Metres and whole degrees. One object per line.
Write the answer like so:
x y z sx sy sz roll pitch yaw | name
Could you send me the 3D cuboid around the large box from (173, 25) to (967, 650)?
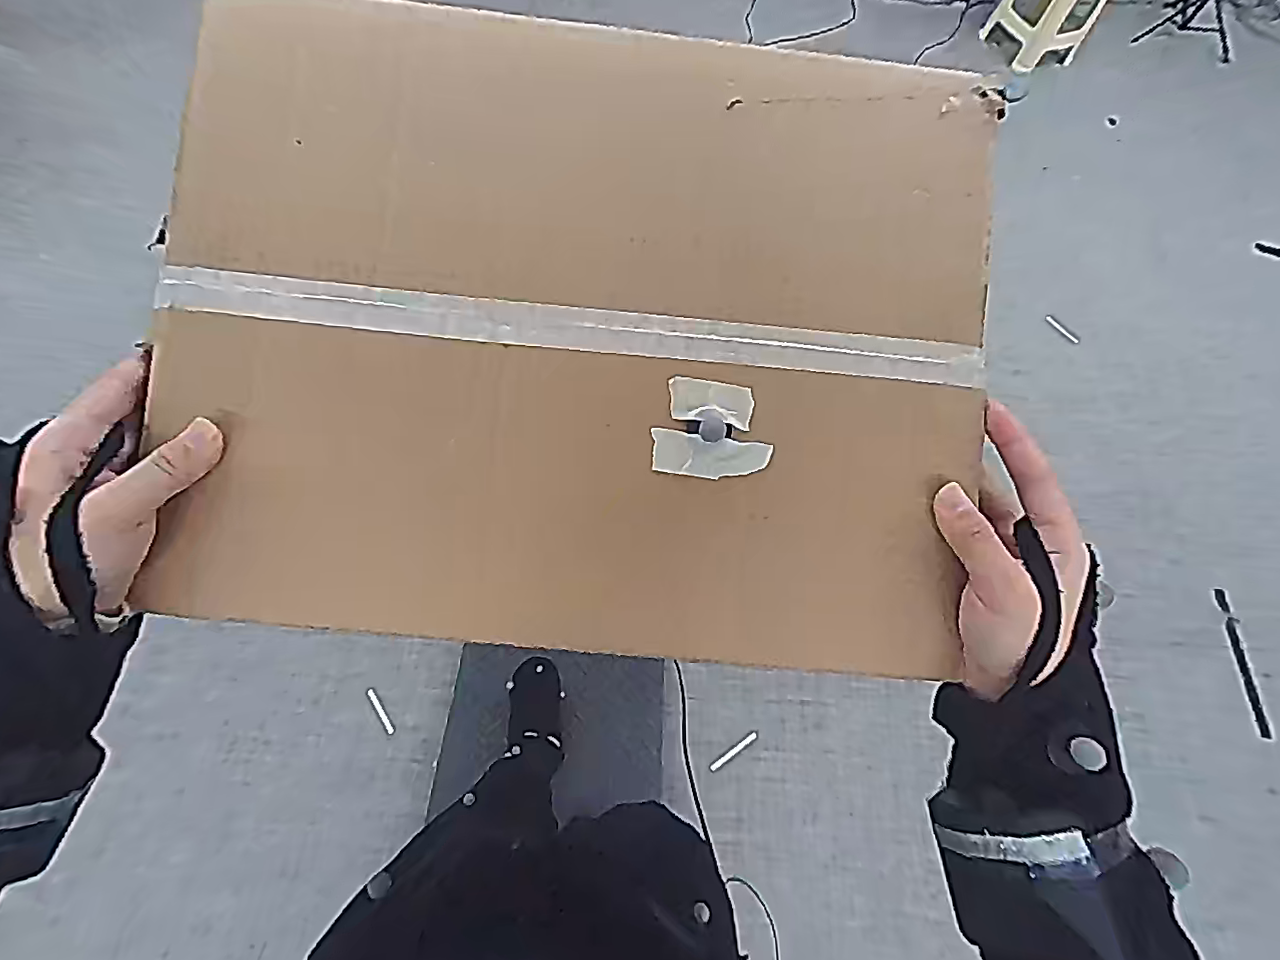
-0.034 -0.069 0.435 0.408 0.320 0.320 6 88 -2 | large box
